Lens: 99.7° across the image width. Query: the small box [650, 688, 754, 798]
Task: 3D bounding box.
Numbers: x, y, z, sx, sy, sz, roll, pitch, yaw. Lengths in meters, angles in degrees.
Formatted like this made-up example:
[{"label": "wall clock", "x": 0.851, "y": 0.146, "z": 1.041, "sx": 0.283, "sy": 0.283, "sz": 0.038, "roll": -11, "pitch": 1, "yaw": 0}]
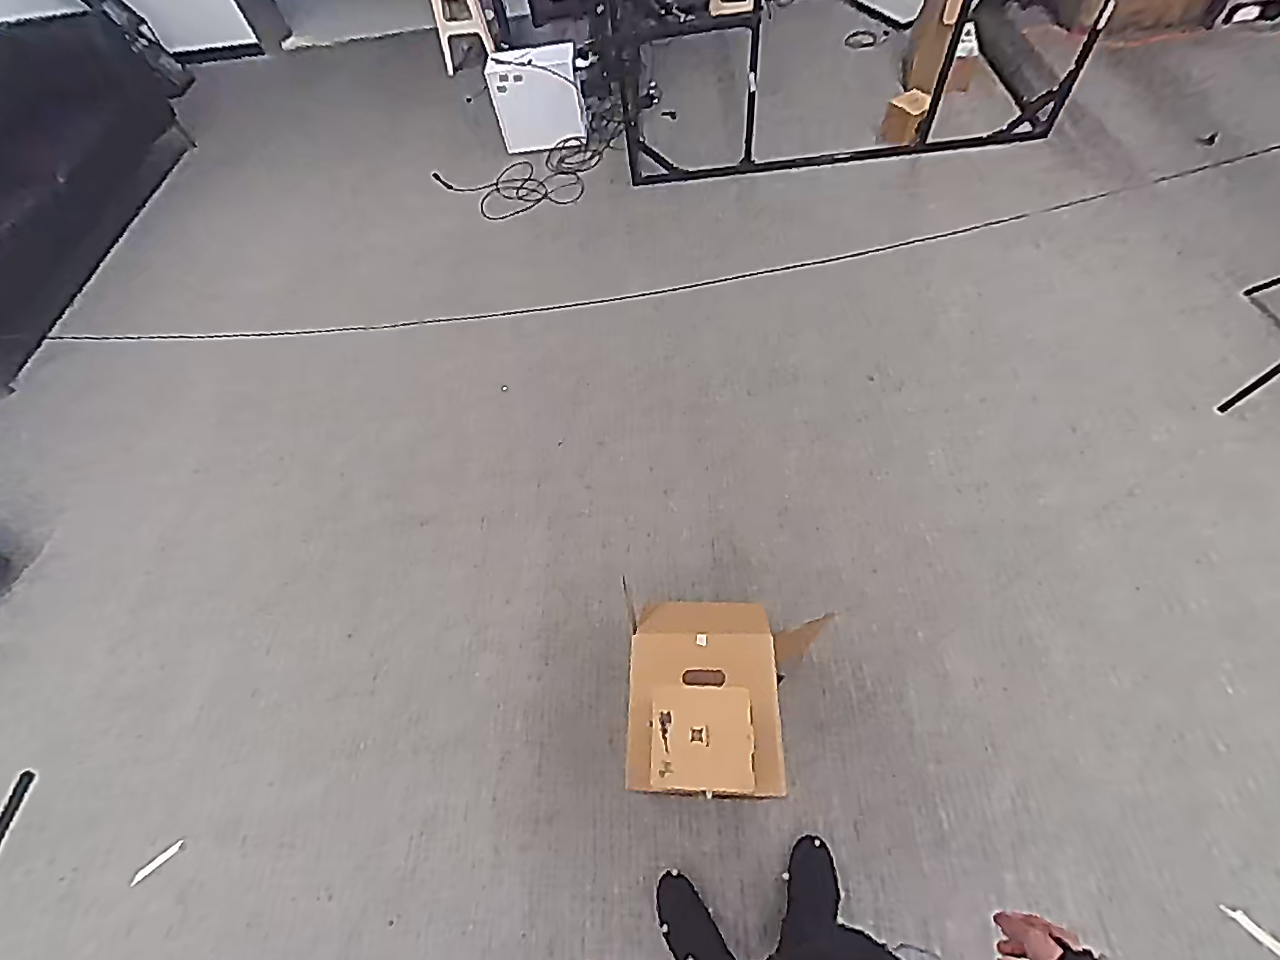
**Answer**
[{"label": "small box", "x": 0.115, "y": 0.493, "z": 1.014, "sx": 0.179, "sy": 0.176, "sz": 0.168, "roll": 0, "pitch": 61, "yaw": 7}]
